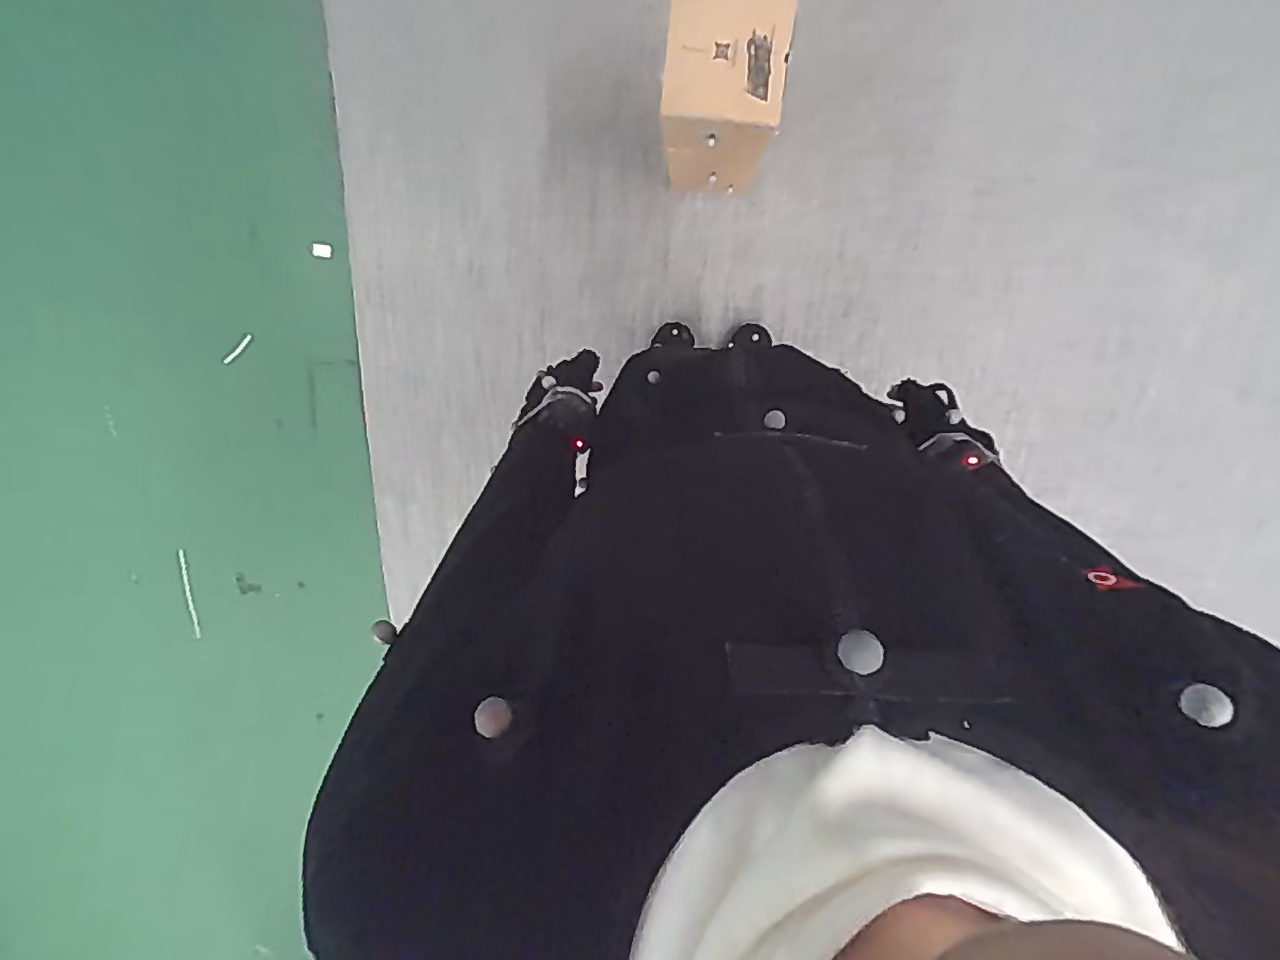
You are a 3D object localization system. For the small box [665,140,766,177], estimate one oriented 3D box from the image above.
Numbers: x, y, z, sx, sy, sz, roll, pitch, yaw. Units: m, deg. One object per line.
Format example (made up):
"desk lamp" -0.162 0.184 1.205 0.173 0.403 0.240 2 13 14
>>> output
"small box" 0.143 -0.671 0.995 0.179 0.176 0.168 6 107 3

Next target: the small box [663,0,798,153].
"small box" 0.130 -0.624 0.837 0.179 0.176 0.168 4 108 3

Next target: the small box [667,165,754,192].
"small box" 0.155 -0.722 1.149 0.179 0.176 0.168 5 107 6
